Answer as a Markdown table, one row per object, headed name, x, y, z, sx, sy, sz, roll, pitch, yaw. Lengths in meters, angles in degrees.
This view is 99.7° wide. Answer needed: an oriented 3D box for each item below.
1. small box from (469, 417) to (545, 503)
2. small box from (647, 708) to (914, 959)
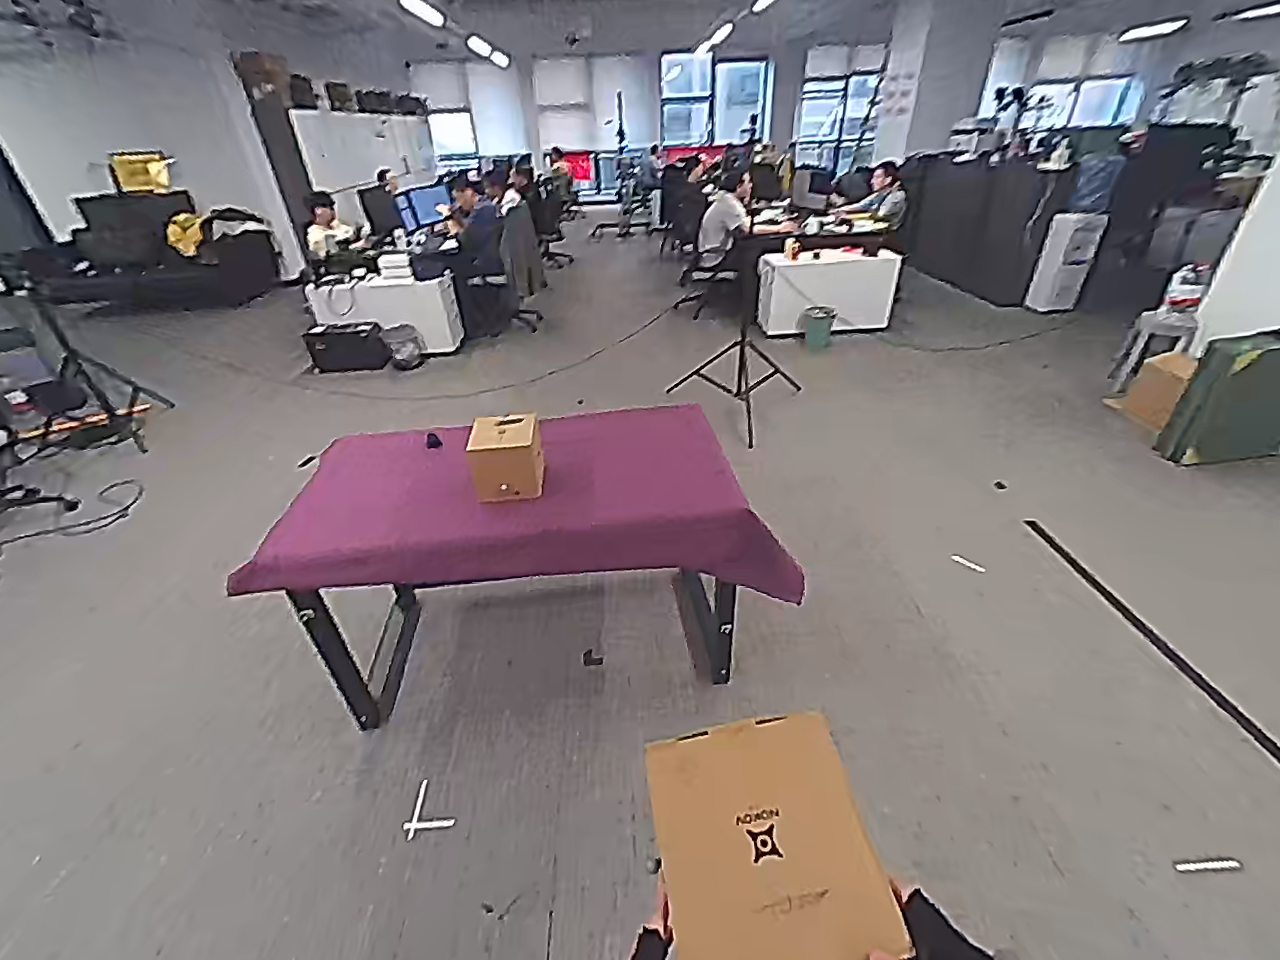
| name | x | y | z | sx | sy | sz | roll | pitch | yaw |
| --- | --- | --- | --- | --- | --- | --- | --- | --- | --- |
| small box | -0.355 | -0.055 | 1.478 | 0.168 | 0.176 | 0.179 | -5 | 34 | -3 |
| small box | 0.102 | 0.337 | 0.483 | 0.168 | 0.176 | 0.179 | -10 | 44 | -4 |
